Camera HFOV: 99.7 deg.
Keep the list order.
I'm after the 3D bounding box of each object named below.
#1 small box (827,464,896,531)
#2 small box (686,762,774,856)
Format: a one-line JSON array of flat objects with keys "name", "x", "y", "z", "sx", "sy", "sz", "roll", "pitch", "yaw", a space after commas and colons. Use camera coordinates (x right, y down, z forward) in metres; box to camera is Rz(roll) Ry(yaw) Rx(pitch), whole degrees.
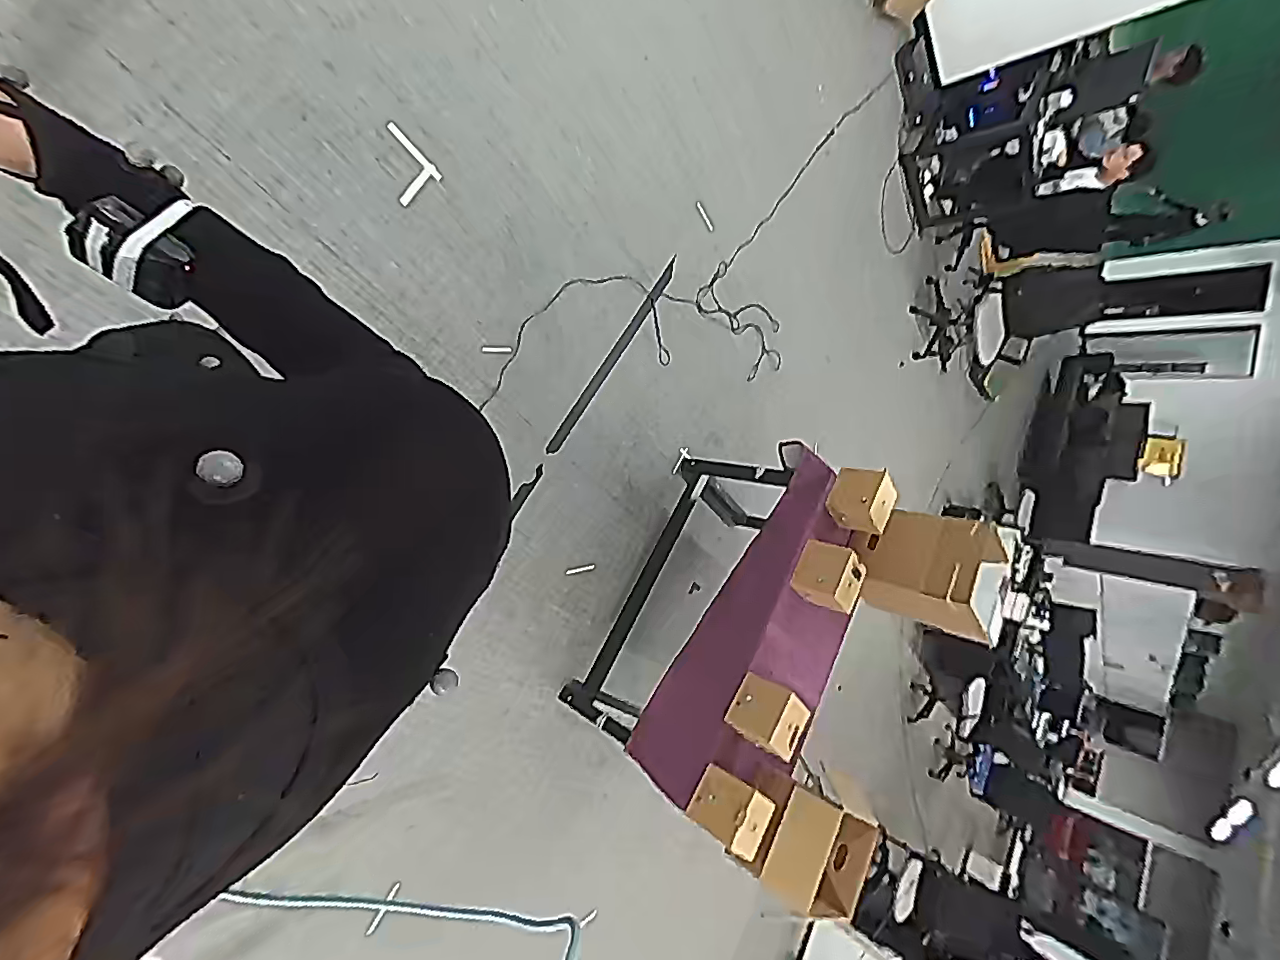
[{"name": "small box", "x": 0.811, "y": 0.059, "z": 1.981, "sx": 0.168, "sy": 0.176, "sz": 0.179, "roll": 45, "pitch": 68, "yaw": -40}, {"name": "small box", "x": 0.271, "y": 0.981, "z": 1.624, "sx": 0.168, "sy": 0.176, "sz": 0.179, "roll": -56, "pitch": 131, "yaw": -23}]
